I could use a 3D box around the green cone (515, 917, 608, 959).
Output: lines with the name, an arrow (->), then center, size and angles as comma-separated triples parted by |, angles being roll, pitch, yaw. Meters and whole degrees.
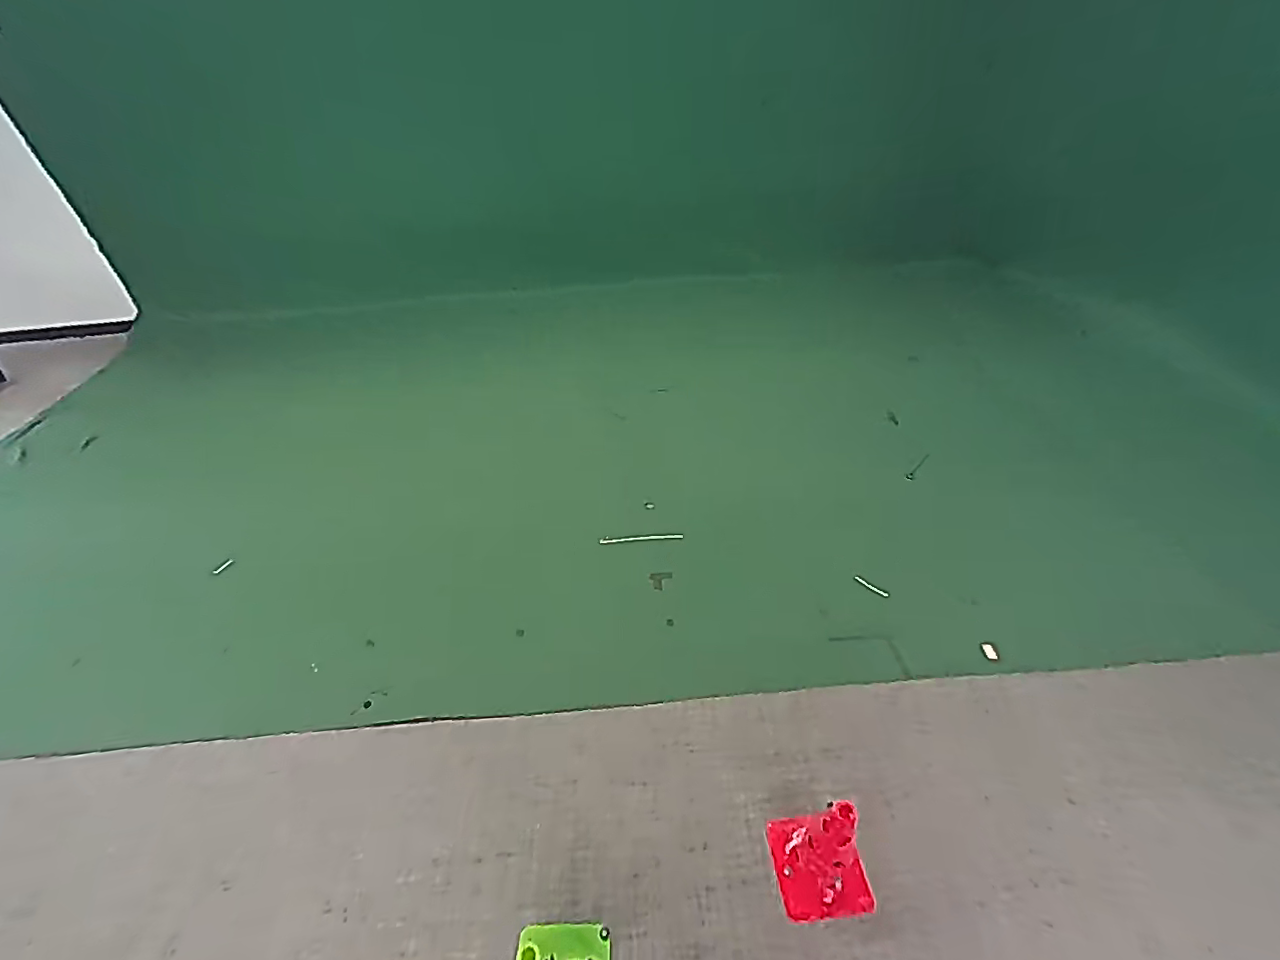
green cone -> -0.178, 0.911, 1.009 | 0.200, 0.368, 0.202 | -3, 42, 2
